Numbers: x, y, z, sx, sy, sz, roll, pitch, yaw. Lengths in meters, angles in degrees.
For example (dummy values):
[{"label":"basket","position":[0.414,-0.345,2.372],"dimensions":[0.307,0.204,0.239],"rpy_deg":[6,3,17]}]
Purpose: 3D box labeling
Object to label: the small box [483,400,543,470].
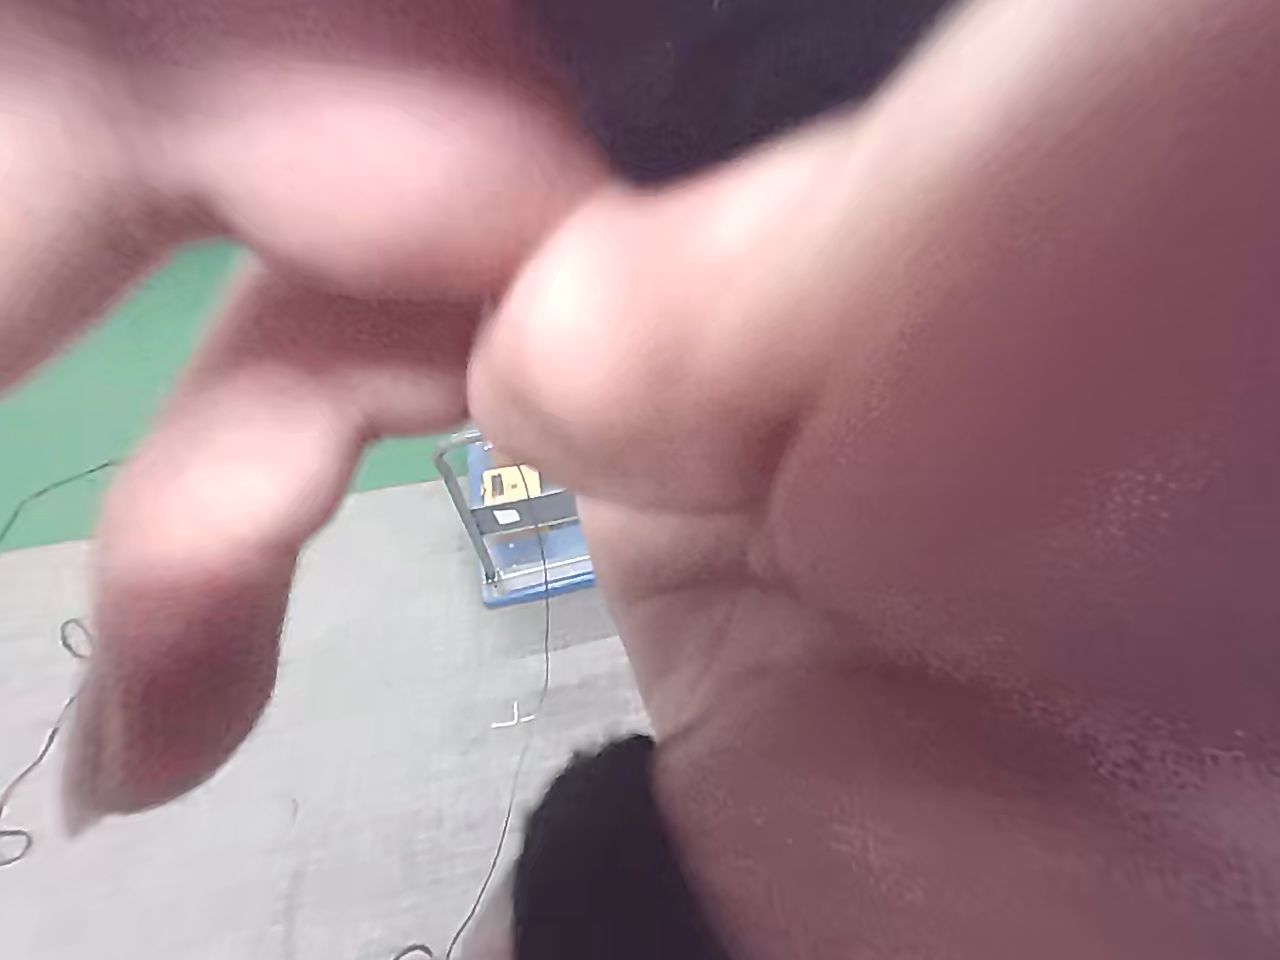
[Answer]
[{"label":"small box","position":[-0.447,-0.153,1.915],"dimensions":[0.168,0.176,0.179],"rpy_deg":[-14,52,-12]}]
